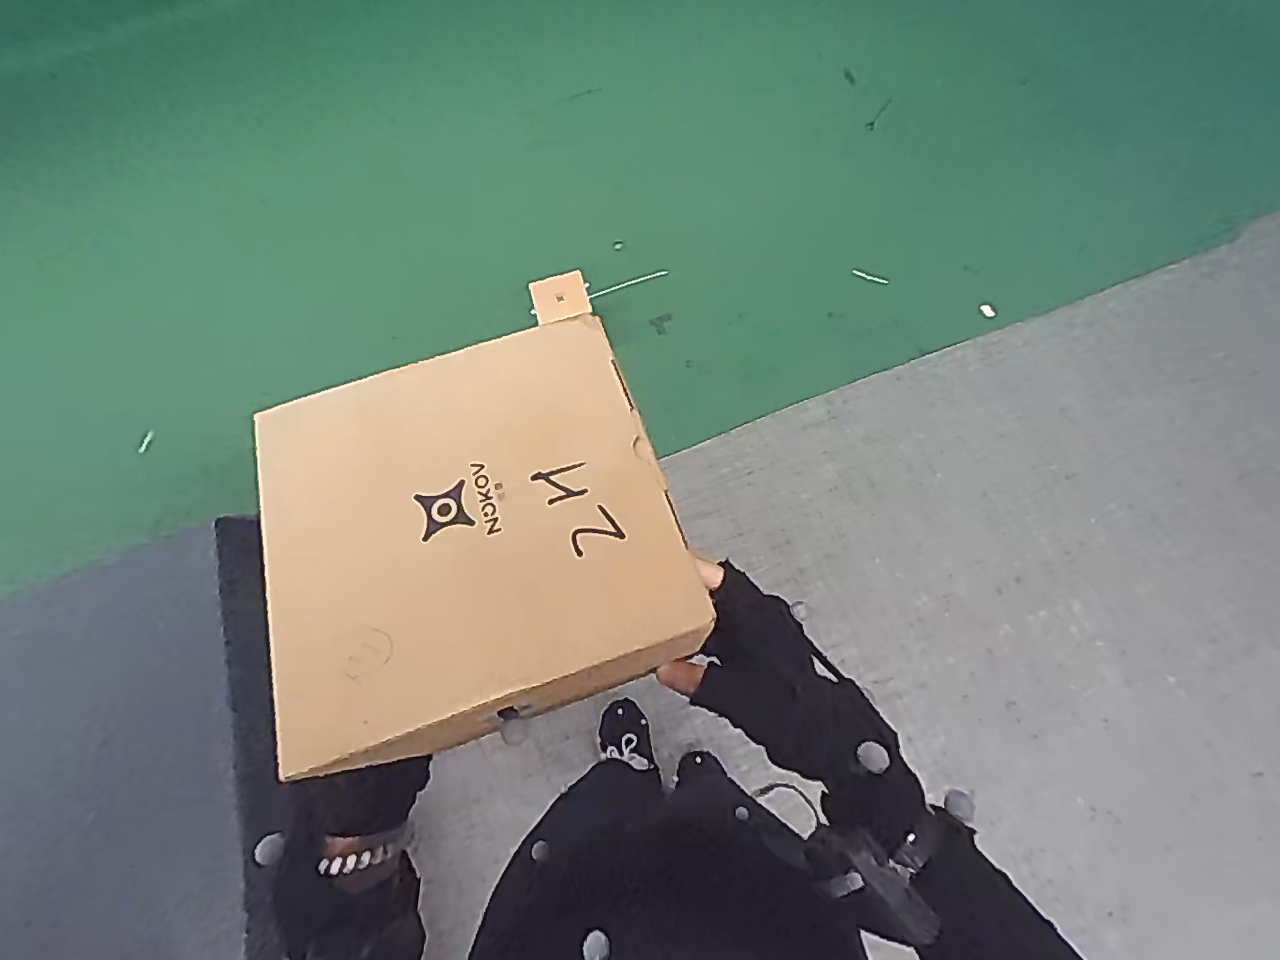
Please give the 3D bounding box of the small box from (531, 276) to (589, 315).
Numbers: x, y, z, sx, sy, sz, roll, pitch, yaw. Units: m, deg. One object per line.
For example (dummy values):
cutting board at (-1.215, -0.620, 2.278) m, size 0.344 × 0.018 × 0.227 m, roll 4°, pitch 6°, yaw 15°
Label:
small box at (-0.232, -0.507, 1.719) m, size 0.168 × 0.176 × 0.179 m, roll -16°, pitch 66°, yaw -3°

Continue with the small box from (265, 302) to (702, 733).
small box at (-0.075, 0.035, 0.316) m, size 0.179 × 0.176 × 0.168 m, roll -18°, pitch 68°, yaw -6°
